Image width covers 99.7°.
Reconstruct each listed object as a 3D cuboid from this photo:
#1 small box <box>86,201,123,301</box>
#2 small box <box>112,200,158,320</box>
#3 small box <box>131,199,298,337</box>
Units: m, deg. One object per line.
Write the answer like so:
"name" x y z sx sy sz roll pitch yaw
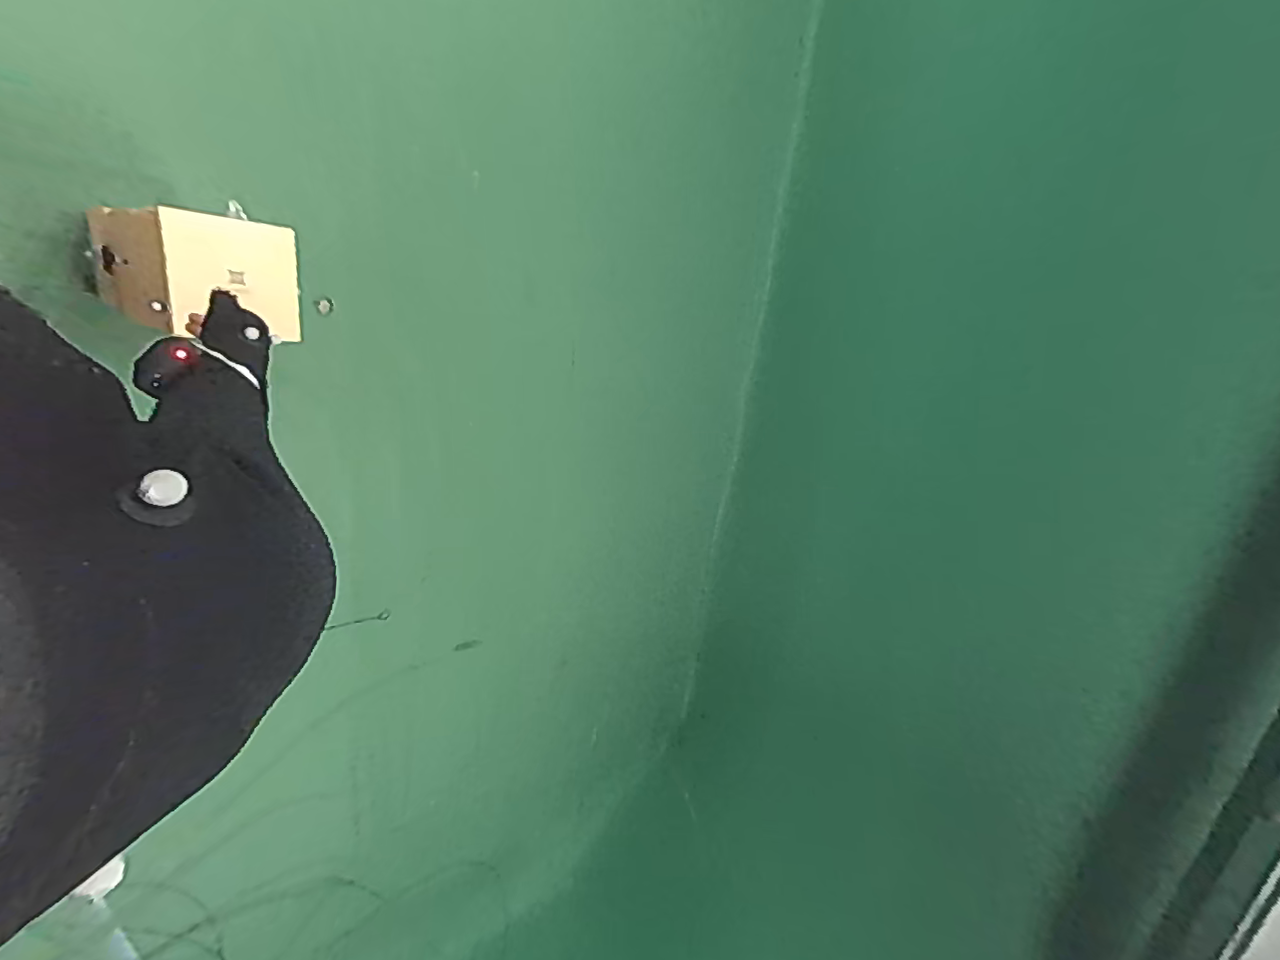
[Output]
"small box" -0.916 -0.426 1.035 0.179 0.176 0.168 -12 116 -50
"small box" -0.788 -0.372 0.943 0.168 0.176 0.179 -10 115 -52
"small box" -0.665 -0.328 0.850 0.168 0.176 0.179 -14 118 -50
